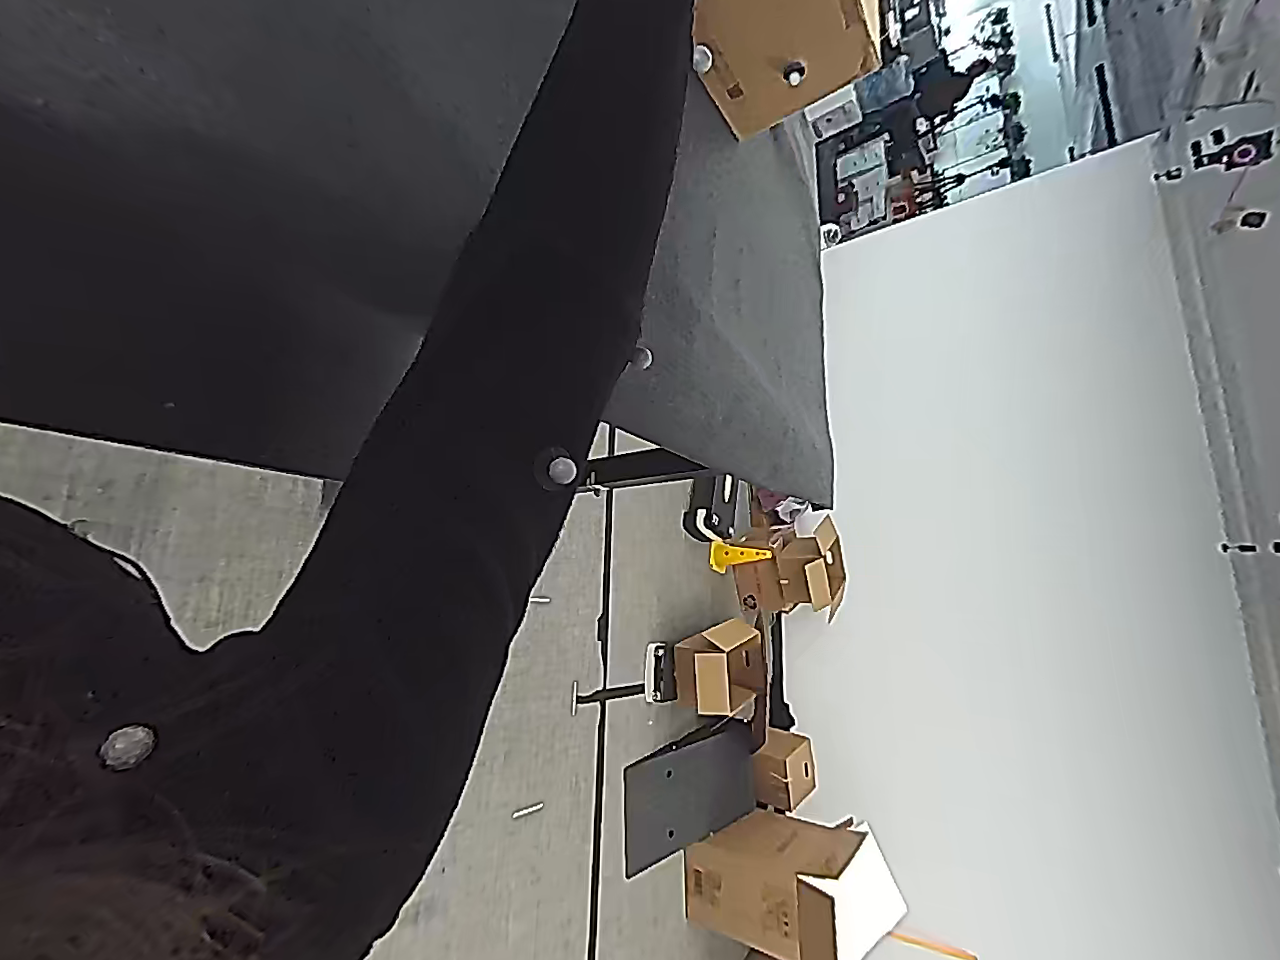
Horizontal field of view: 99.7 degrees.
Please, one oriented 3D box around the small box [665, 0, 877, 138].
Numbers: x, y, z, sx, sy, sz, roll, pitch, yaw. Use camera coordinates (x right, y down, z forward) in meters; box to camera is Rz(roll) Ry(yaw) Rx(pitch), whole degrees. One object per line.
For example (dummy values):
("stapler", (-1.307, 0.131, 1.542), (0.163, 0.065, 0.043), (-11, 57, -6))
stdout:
("small box", (0.140, -0.518, 0.576), (0.168, 0.176, 0.179), (25, 64, -50))
